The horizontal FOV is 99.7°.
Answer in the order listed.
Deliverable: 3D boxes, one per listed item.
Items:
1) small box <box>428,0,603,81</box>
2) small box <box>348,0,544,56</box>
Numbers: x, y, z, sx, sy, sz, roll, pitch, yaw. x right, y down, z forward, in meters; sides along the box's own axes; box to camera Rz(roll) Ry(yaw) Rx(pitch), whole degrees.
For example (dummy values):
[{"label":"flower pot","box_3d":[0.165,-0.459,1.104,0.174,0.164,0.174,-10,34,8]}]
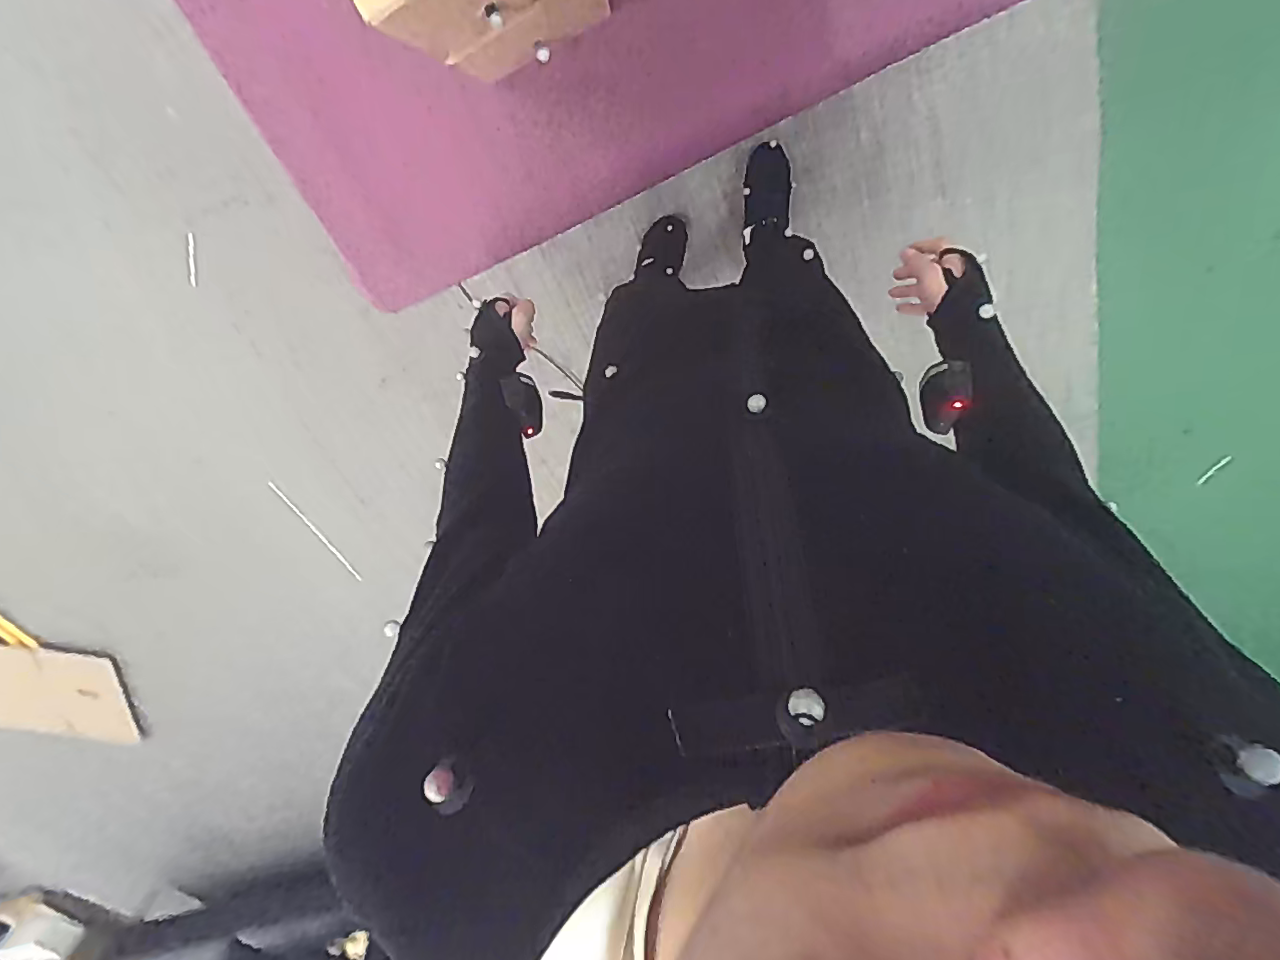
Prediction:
[{"label":"small box","box_3d":[-0.146,-0.523,0.516,0.168,0.176,0.179,-20,118,12]},{"label":"small box","box_3d":[-0.148,-0.442,0.374,0.168,0.176,0.179,-22,119,12]}]
